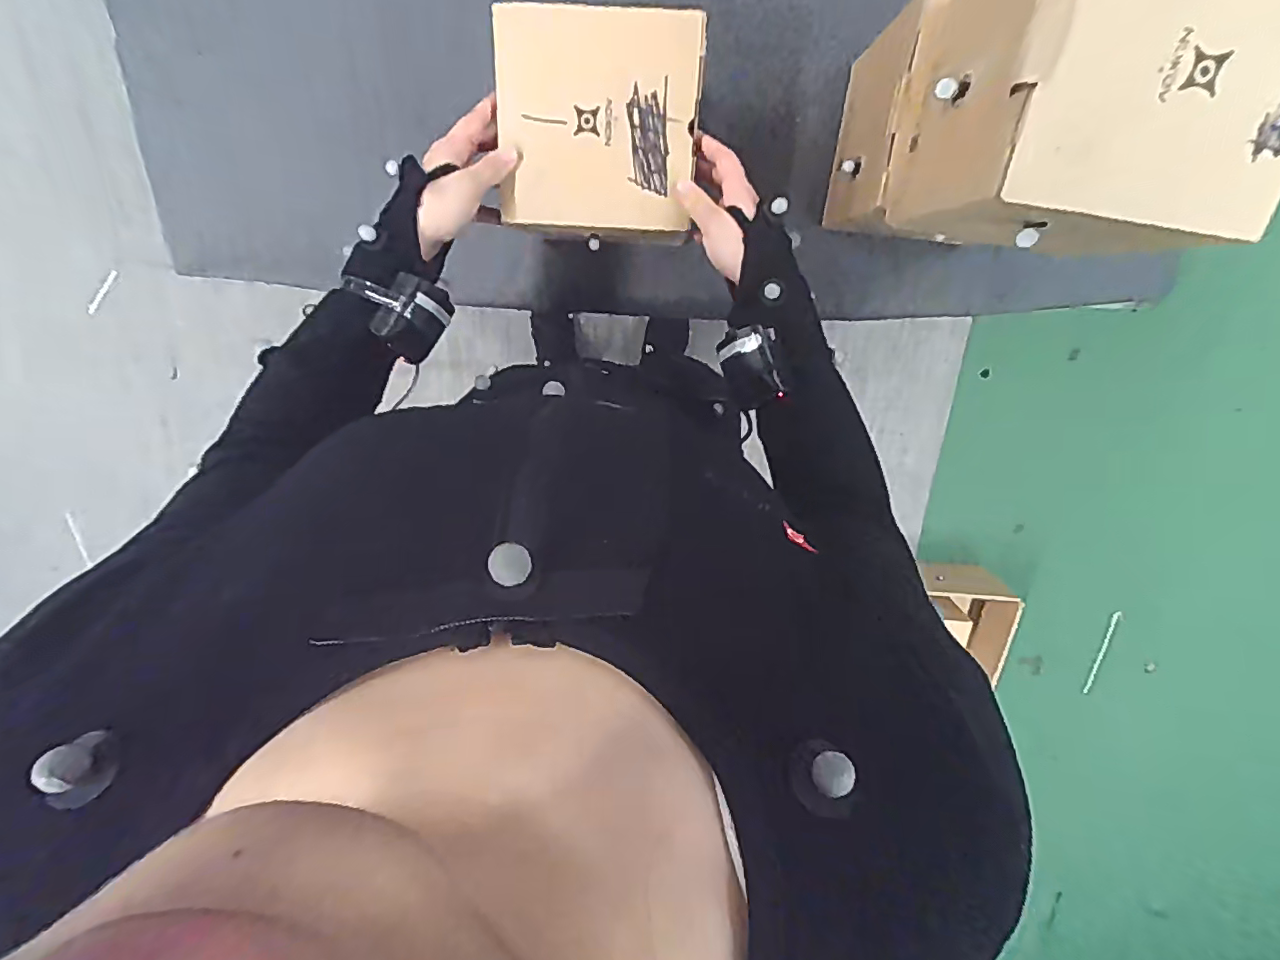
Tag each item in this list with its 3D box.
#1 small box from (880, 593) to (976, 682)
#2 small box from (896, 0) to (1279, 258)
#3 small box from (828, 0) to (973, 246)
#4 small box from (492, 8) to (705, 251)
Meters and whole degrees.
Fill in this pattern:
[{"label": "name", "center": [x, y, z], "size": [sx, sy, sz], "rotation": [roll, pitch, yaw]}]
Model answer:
[{"label": "small box", "center": [0.798, 0.436, 1.517], "size": [0.168, 0.176, 0.179], "rotation": [4, 111, 1]}, {"label": "small box", "center": [0.312, -0.257, 0.379], "size": [0.179, 0.176, 0.168], "rotation": [9, 110, -1]}, {"label": "small box", "center": [0.304, -0.329, 0.527], "size": [0.179, 0.176, 0.168], "rotation": [5, 110, -2]}, {"label": "small box", "center": [-0.035, -0.324, 0.535], "size": [0.179, 0.176, 0.168], "rotation": [3, 109, 2]}]
